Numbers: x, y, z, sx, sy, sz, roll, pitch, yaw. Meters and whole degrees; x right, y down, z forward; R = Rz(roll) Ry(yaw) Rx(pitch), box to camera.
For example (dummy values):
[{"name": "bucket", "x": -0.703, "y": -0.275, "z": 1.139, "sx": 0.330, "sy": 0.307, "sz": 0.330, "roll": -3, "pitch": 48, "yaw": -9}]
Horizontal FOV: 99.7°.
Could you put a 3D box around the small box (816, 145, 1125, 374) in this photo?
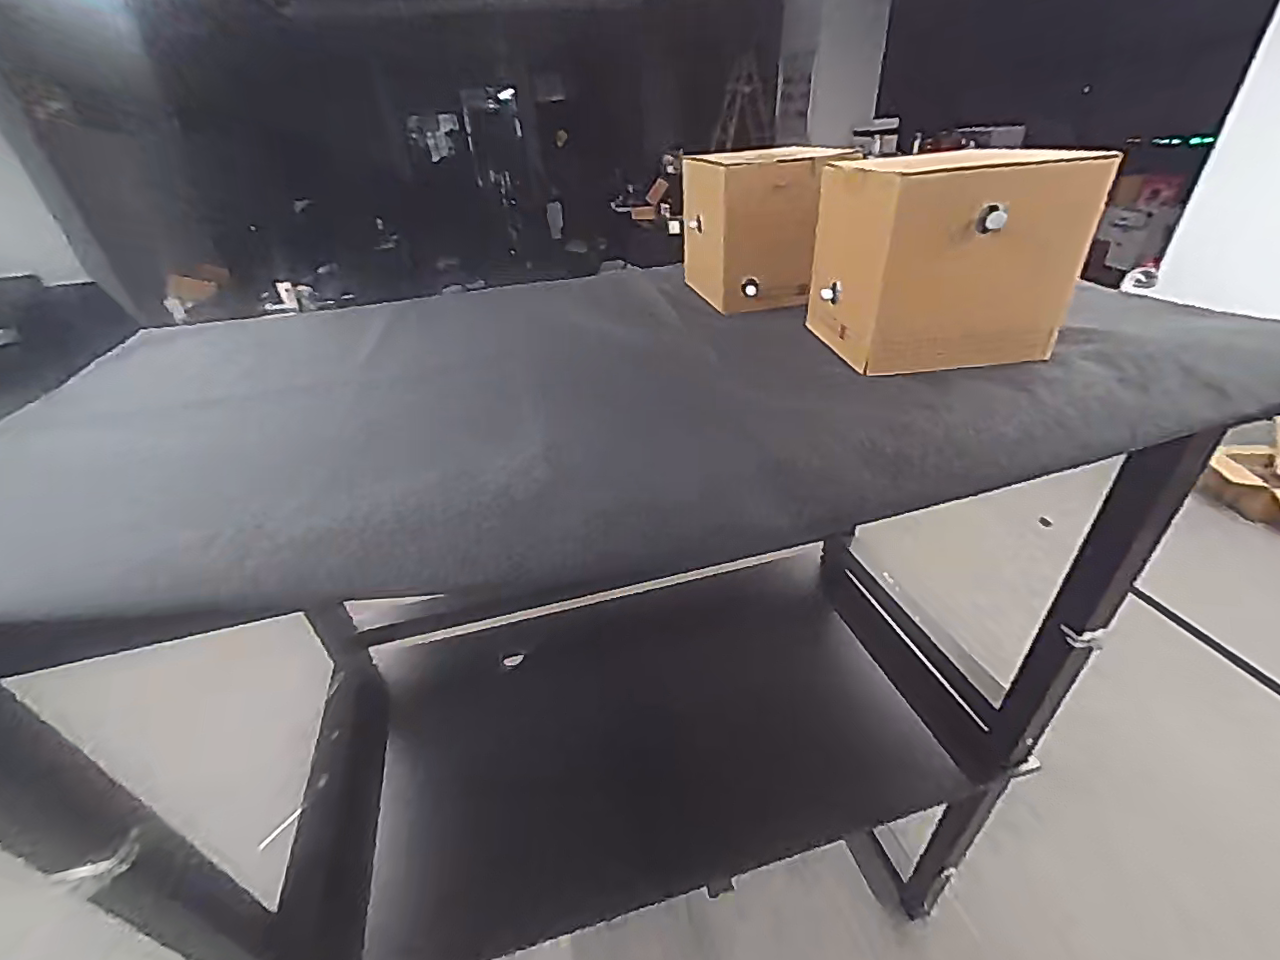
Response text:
[{"name": "small box", "x": 0.285, "y": -0.213, "z": 0.517, "sx": 0.179, "sy": 0.176, "sz": 0.168, "roll": -6, "pitch": 32, "yaw": -1}]

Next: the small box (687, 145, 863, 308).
[{"name": "small box", "x": 0.165, "y": -0.333, "z": 0.713, "sx": 0.168, "sy": 0.176, "sz": 0.179, "roll": -10, "pitch": 33, "yaw": -7}]
